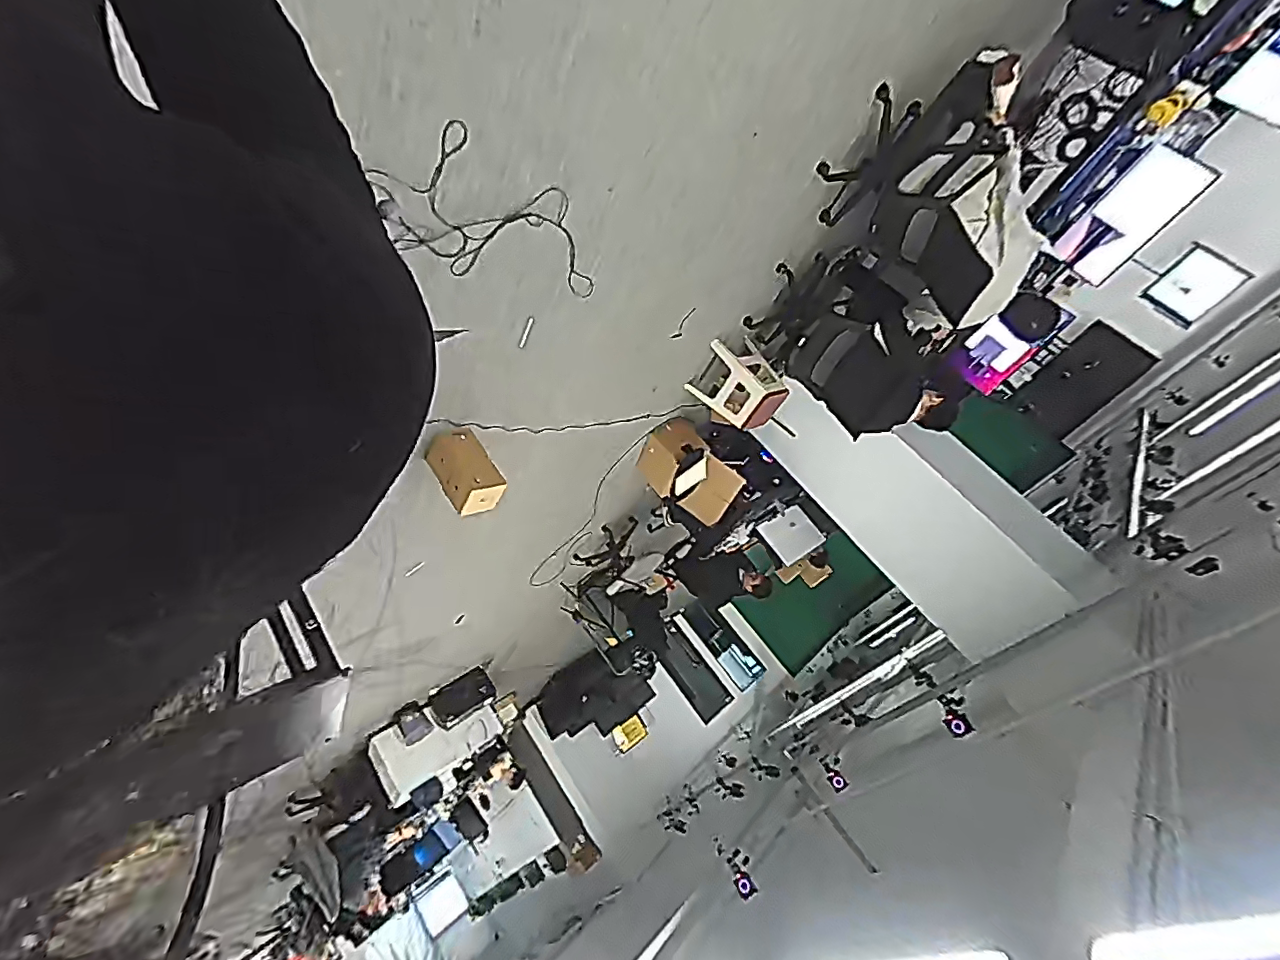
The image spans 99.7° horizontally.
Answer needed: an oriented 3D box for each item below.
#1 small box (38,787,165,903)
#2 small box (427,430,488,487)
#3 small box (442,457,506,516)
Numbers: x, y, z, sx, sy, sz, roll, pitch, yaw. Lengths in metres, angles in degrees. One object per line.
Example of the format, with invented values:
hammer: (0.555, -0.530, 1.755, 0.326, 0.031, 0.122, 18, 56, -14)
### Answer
small box: (-1.357, 0.918, 1.369, 0.179, 0.176, 0.168, -23, 154, -41)
small box: (-0.800, -0.095, 2.346, 0.168, 0.176, 0.179, -13, 146, -52)
small box: (-0.705, 0.022, 2.279, 0.179, 0.176, 0.168, -15, 150, -50)
